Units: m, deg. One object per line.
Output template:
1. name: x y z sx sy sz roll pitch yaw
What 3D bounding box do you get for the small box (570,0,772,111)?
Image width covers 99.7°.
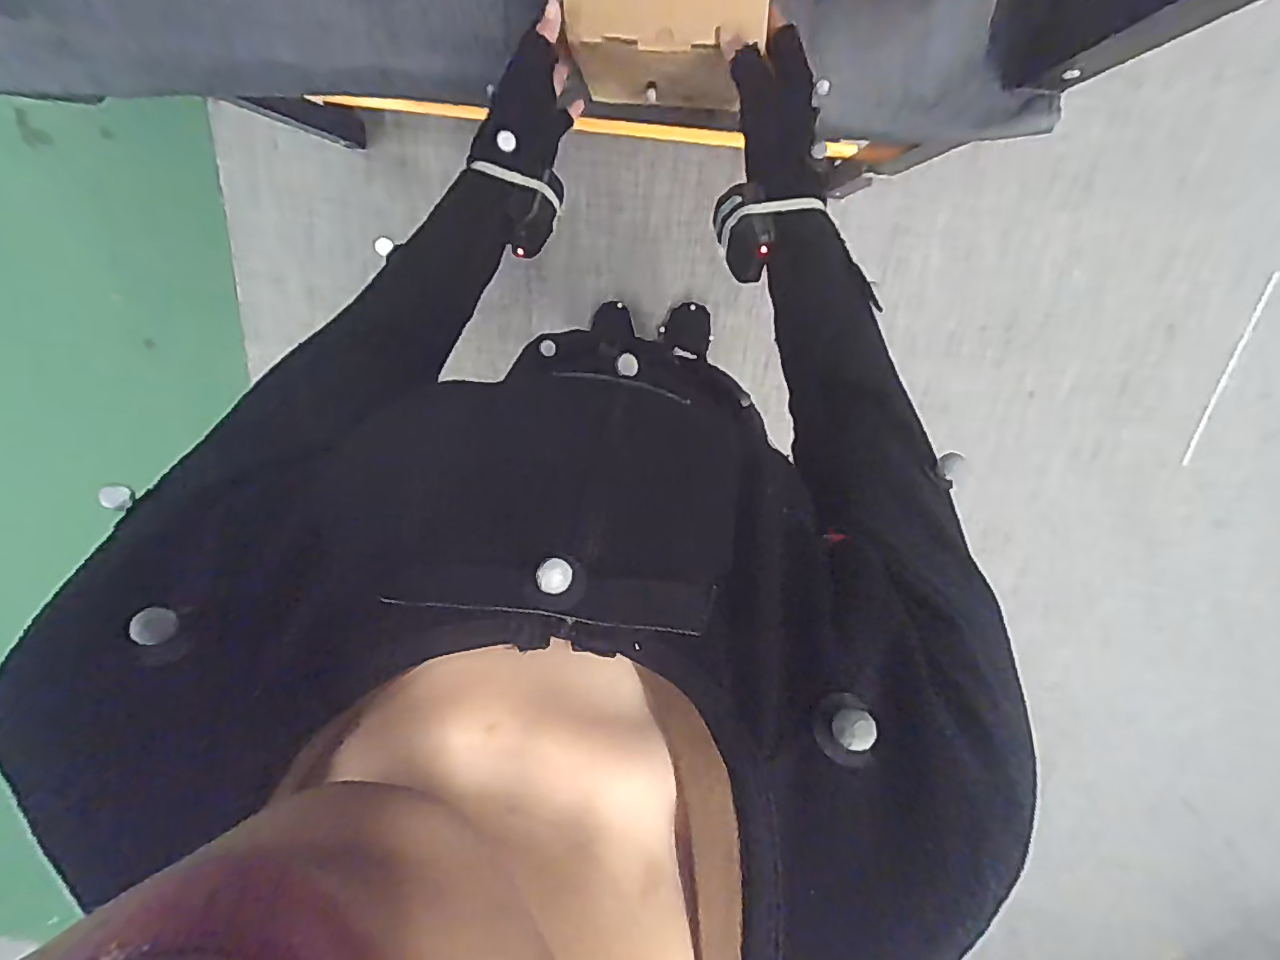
1. small box: 0.035 -0.471 0.495 0.168 0.176 0.179 6 110 2
